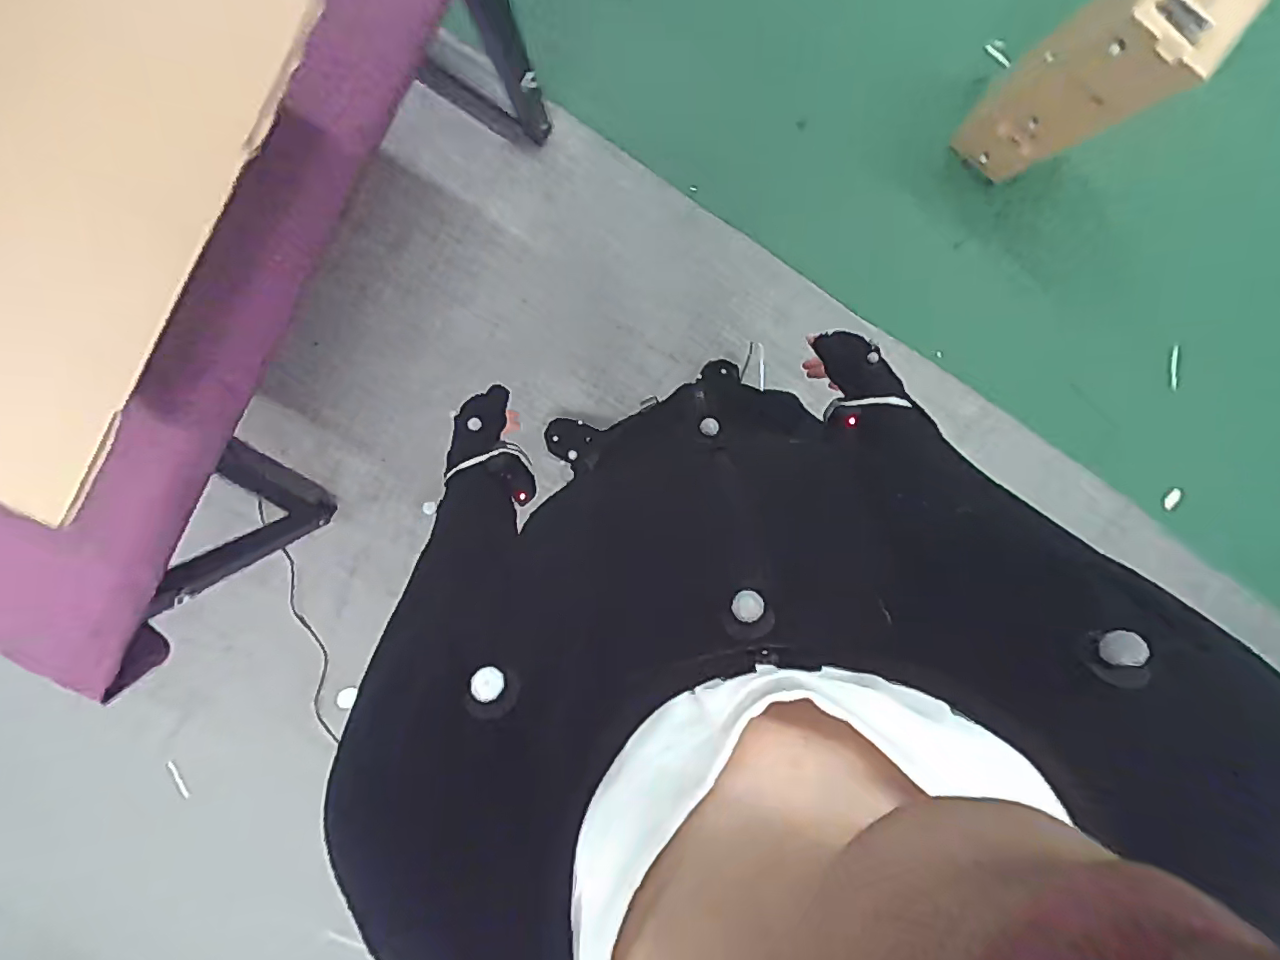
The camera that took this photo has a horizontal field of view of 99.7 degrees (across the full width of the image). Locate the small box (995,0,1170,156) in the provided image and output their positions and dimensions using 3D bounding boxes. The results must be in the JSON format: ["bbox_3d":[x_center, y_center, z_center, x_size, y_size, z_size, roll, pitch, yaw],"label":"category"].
[{"bbox_3d":[0.866,-0.797,1.079,0.168,0.176,0.179,32,100,-8],"label":"small box"}]

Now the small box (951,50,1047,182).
[{"bbox_3d":[0.864,-0.830,1.239,0.168,0.176,0.179,33,99,-7],"label":"small box"}]
